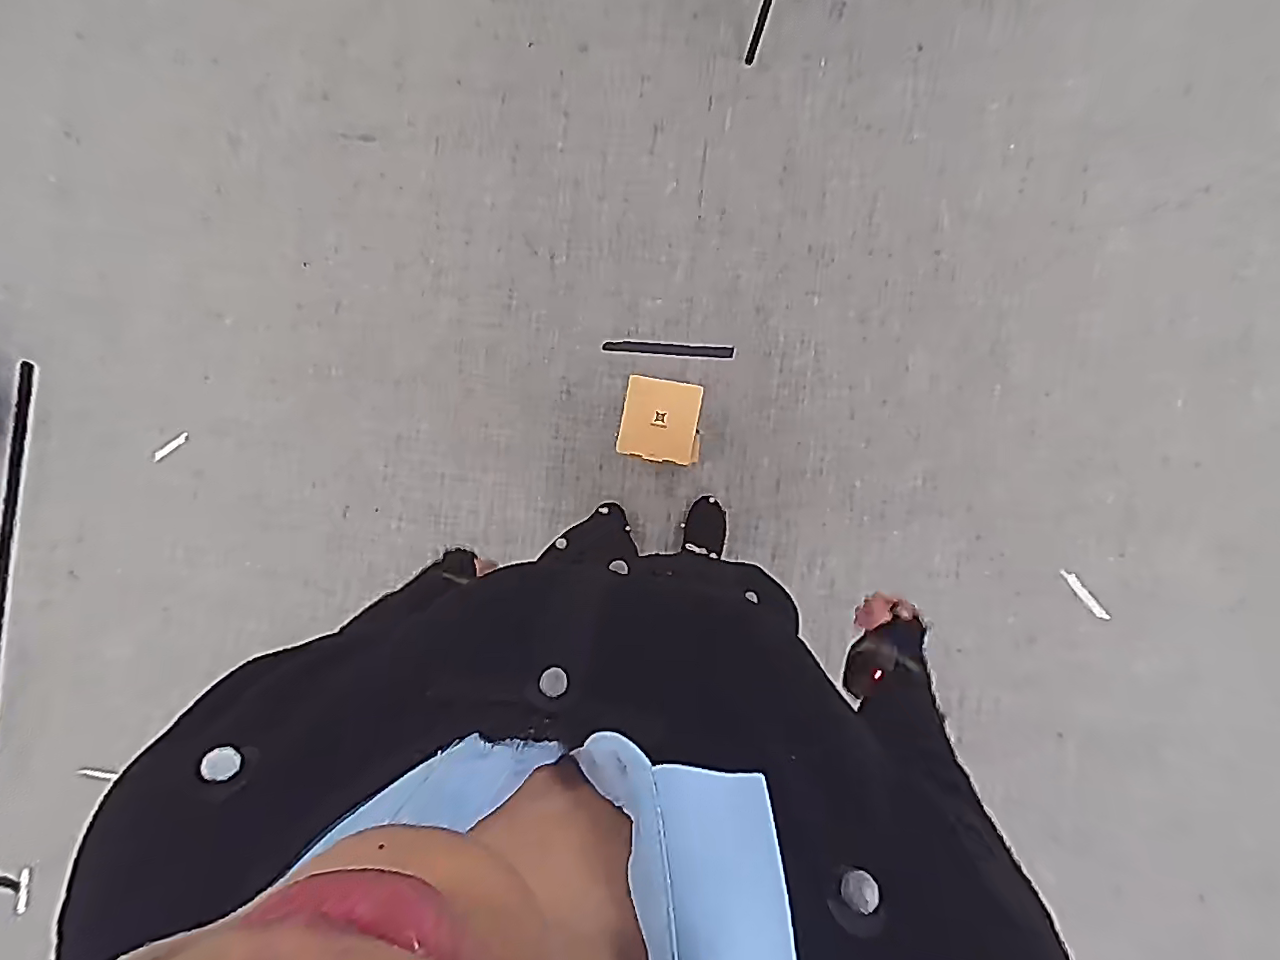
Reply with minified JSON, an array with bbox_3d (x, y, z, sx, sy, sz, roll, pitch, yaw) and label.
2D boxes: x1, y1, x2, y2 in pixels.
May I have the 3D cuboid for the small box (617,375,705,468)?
[{"bbox_3d":[0.052,-0.129,1.246,0.168,0.176,0.179,11,91,6],"label":"small box"}]
